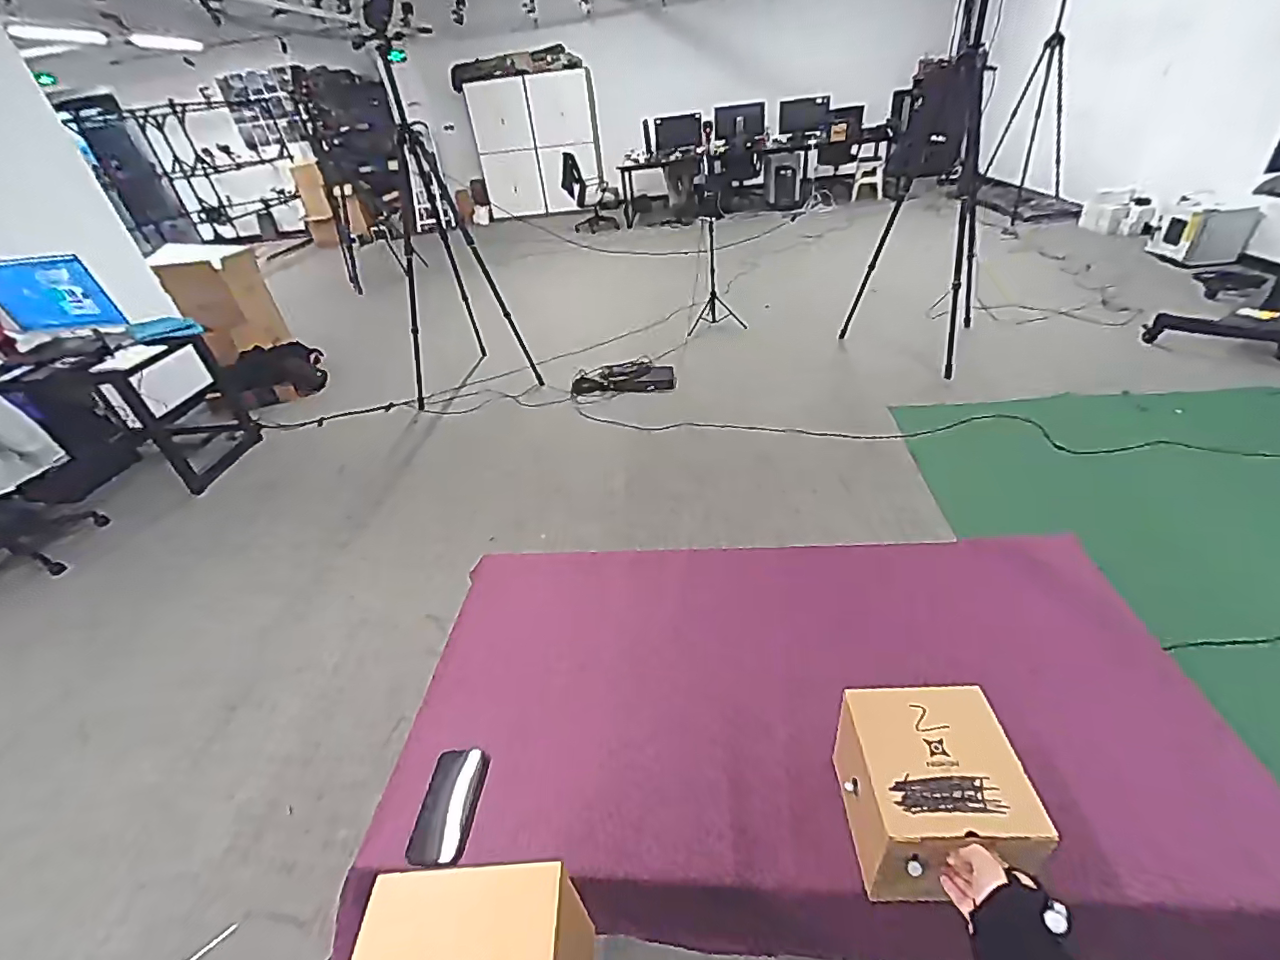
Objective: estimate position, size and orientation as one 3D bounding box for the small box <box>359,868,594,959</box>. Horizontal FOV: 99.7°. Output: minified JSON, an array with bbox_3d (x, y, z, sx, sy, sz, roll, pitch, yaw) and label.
[{"bbox_3d":[-0.132,0.454,0.444,0.168,0.176,0.179,-6,37,3],"label":"small box"}]
